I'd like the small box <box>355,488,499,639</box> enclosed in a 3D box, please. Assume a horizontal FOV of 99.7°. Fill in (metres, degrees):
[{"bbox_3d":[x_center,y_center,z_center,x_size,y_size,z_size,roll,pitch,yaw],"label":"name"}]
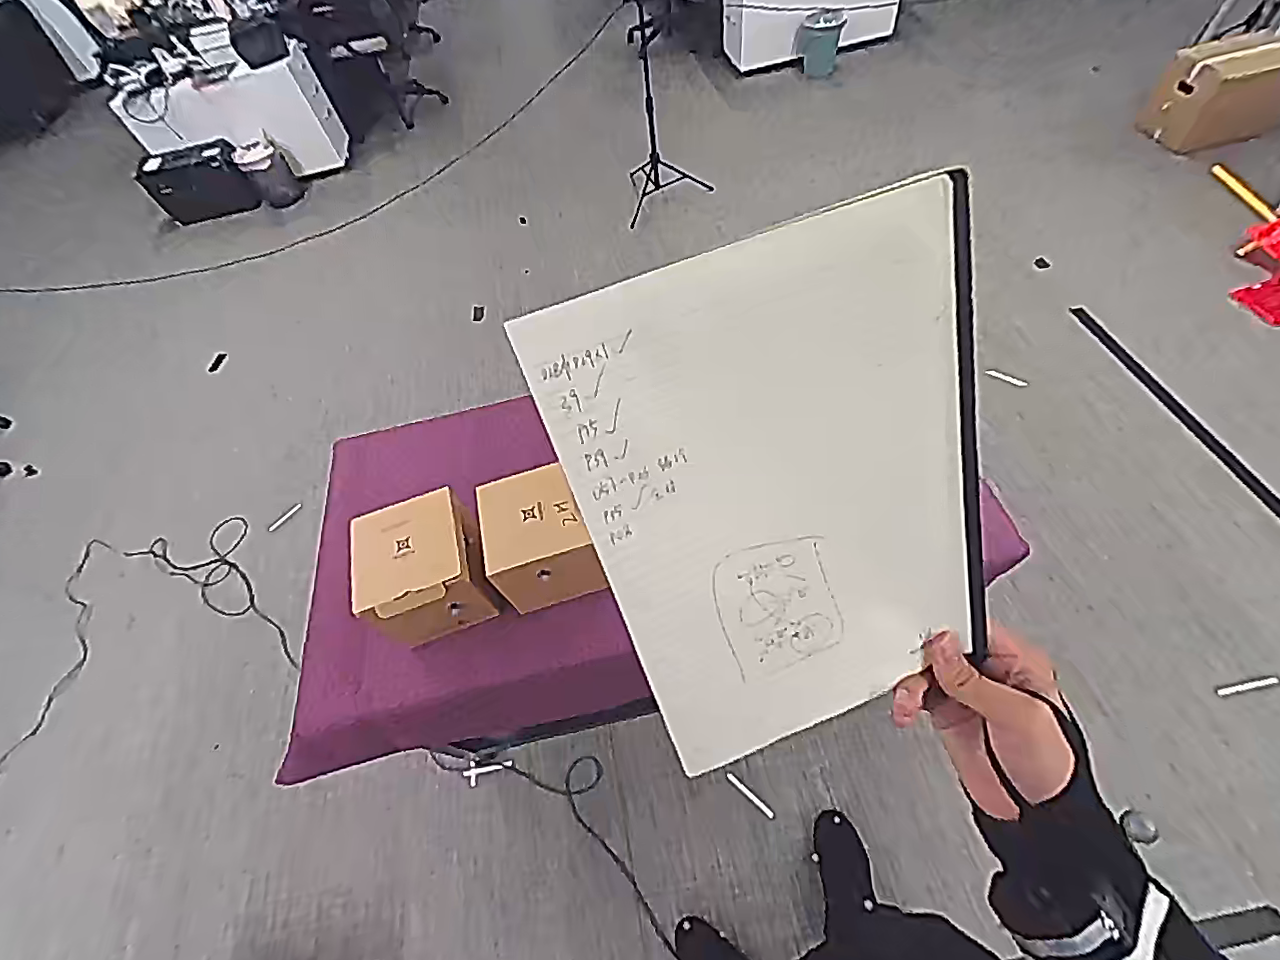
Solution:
[{"bbox_3d":[-0.350,0.149,0.903,0.168,0.176,0.179,-20,56,-5],"label":"small box"}]
